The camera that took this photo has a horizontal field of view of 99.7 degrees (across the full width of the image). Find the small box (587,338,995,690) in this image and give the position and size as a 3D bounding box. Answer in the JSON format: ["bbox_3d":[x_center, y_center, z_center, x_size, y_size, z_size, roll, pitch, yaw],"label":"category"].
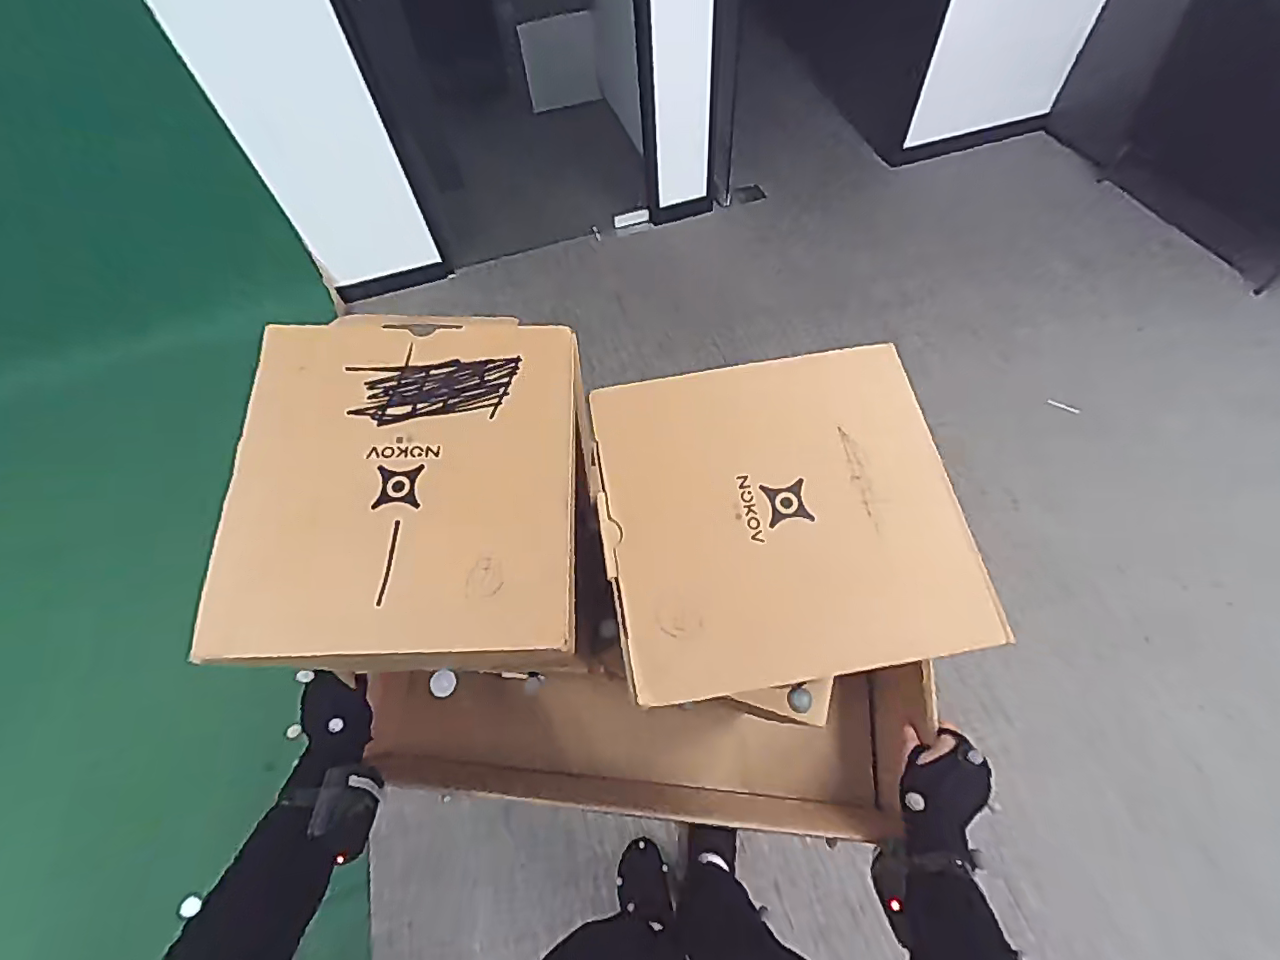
[{"bbox_3d":[0.070,0.036,0.349,0.179,0.176,0.168,-9,68,-2],"label":"small box"}]
